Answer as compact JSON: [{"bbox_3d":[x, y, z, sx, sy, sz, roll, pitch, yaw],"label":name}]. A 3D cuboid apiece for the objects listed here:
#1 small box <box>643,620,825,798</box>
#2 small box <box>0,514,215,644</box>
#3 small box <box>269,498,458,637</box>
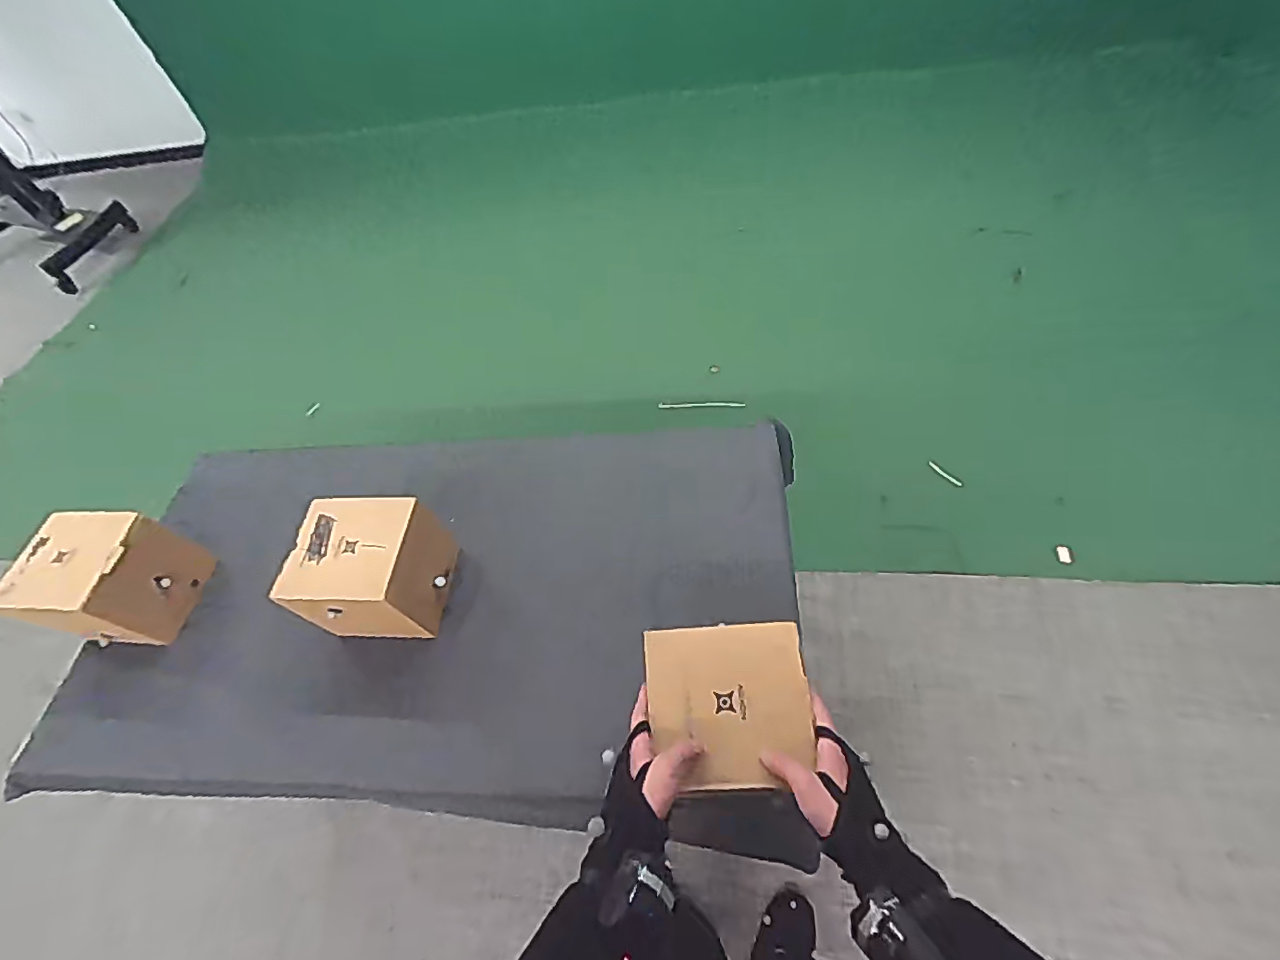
[{"bbox_3d":[0.101,0.276,0.640,0.179,0.176,0.168,-7,57,5],"label":"small box"},{"bbox_3d":[-0.879,0.169,0.906,0.179,0.176,0.168,0,57,8],"label":"small box"},{"bbox_3d":[-0.416,0.141,0.848,0.179,0.176,0.168,-1,57,8],"label":"small box"}]
